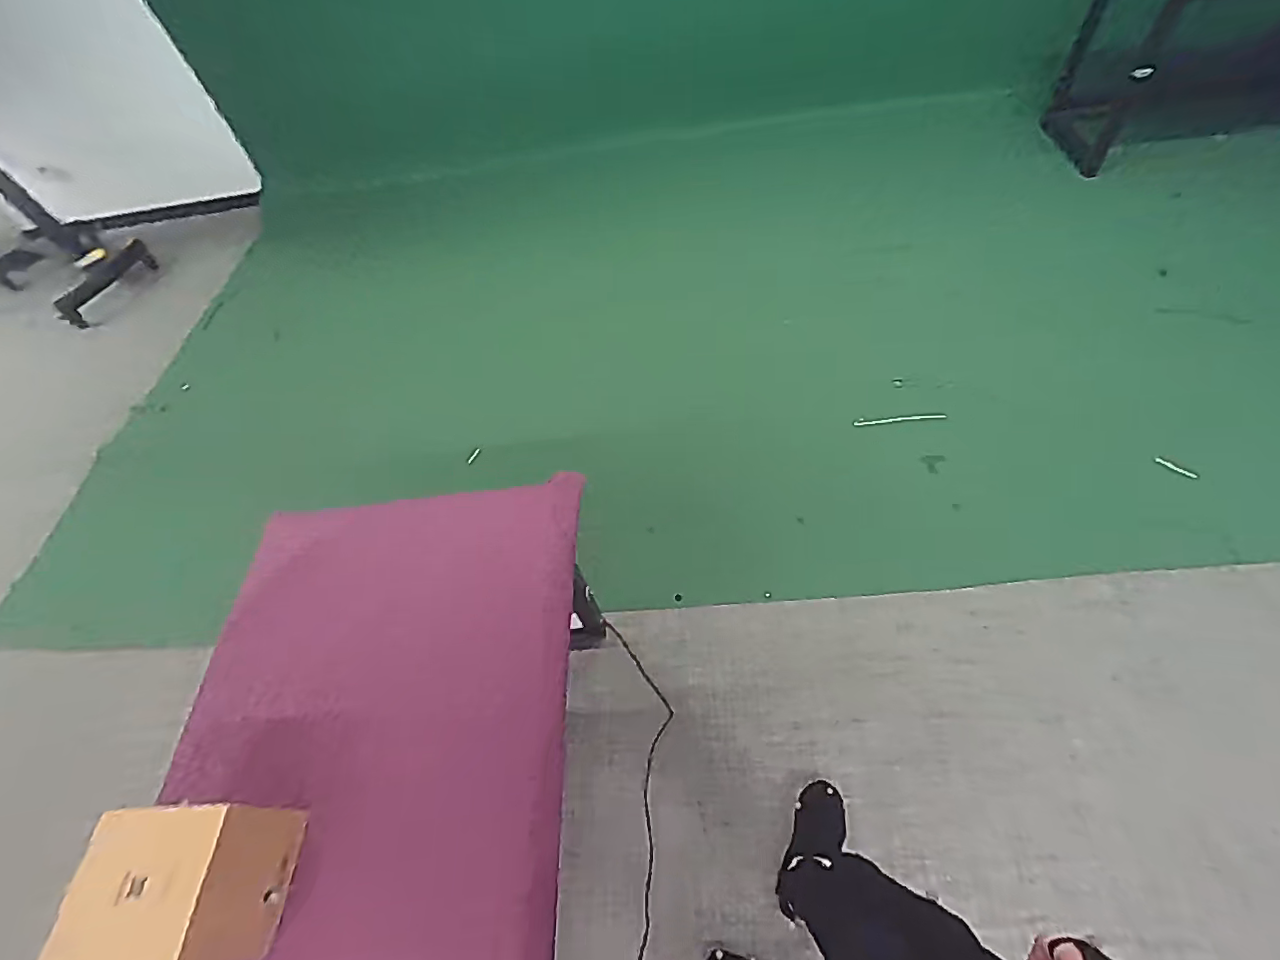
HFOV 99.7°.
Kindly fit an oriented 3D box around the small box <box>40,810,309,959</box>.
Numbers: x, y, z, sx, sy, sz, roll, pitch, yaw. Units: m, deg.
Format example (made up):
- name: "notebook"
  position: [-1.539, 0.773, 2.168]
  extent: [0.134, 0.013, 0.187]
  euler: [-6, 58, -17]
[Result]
- name: "small box"
  position: [-0.583, 0.533, 0.702]
  extent: [0.179, 0.176, 0.168]
  euler: [-5, 55, 5]
